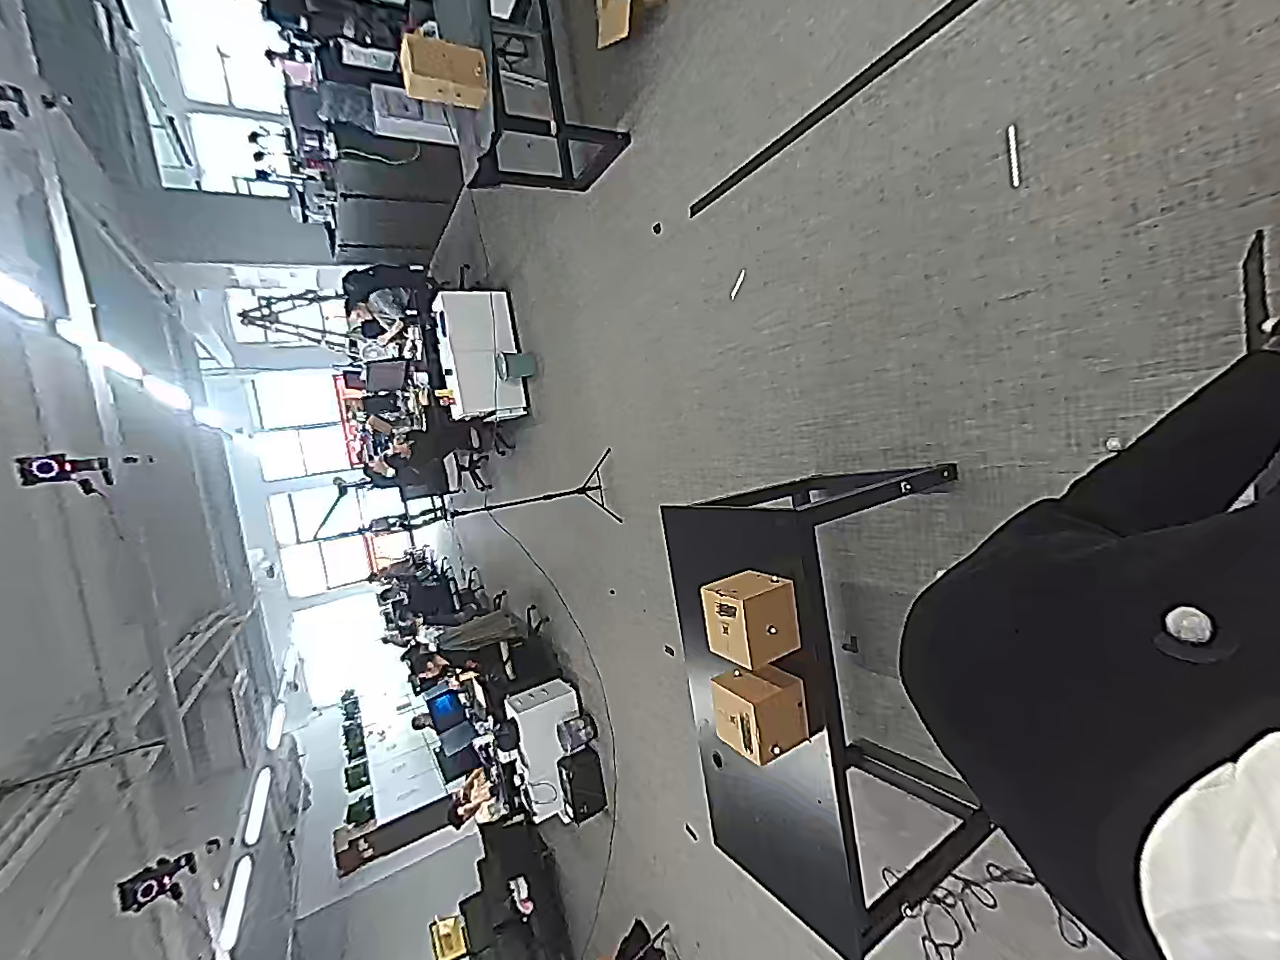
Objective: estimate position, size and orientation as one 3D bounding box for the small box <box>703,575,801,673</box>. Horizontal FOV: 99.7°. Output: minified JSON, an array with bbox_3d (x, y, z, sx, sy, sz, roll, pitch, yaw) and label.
[{"bbox_3d":[0.283,0.352,1.362,0.168,0.176,0.179,2,103,61],"label":"small box"}]
